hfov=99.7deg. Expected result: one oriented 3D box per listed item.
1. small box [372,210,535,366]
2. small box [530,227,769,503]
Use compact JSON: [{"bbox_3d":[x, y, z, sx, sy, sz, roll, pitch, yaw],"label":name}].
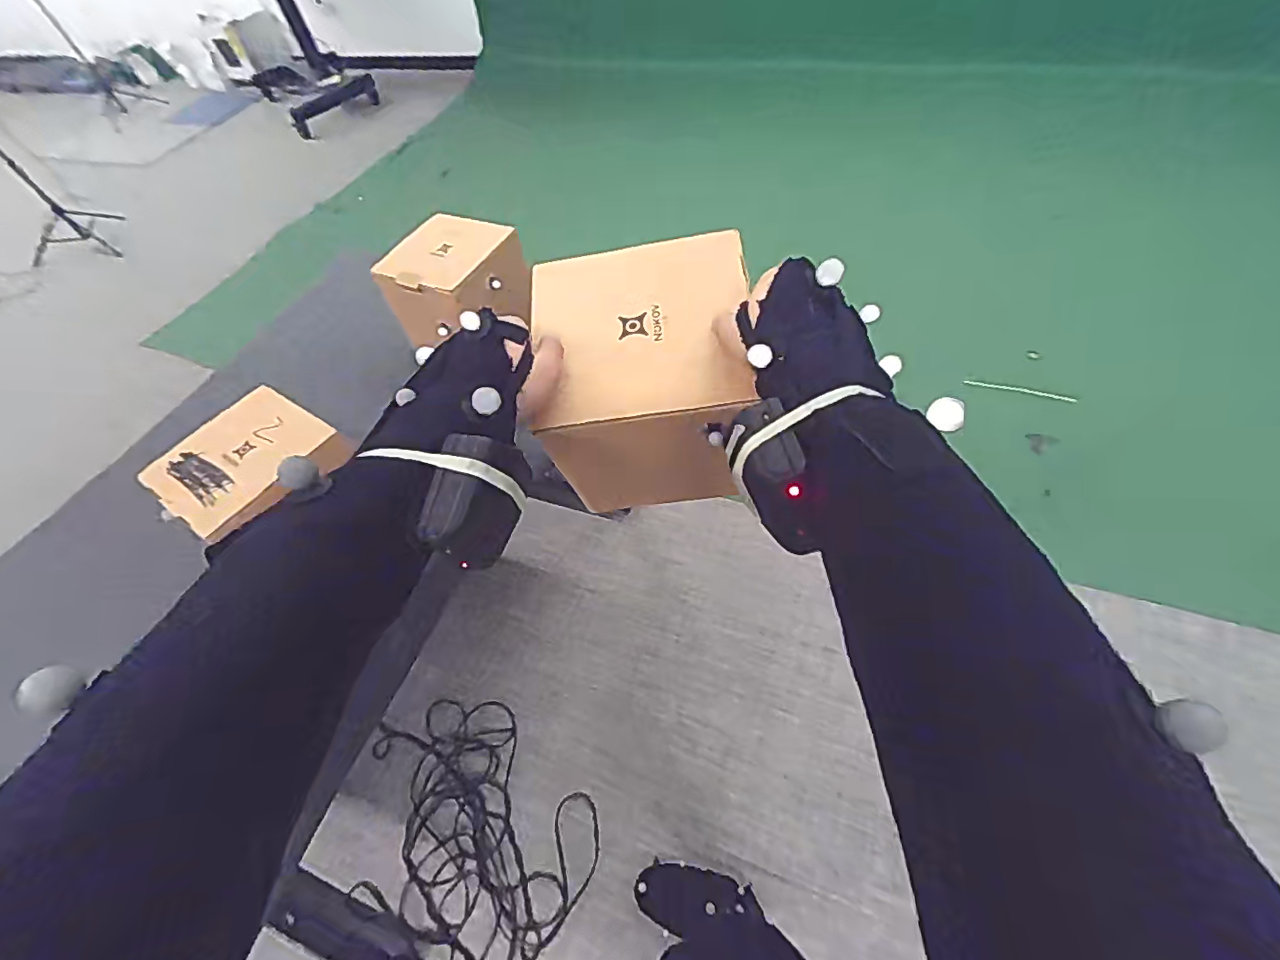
[{"bbox_3d":[-0.298,-0.320,0.913,0.168,0.176,0.179,19,59,19],"label":"small box"},{"bbox_3d":[0.015,-0.088,0.486,0.179,0.176,0.168,-7,65,7],"label":"small box"}]
